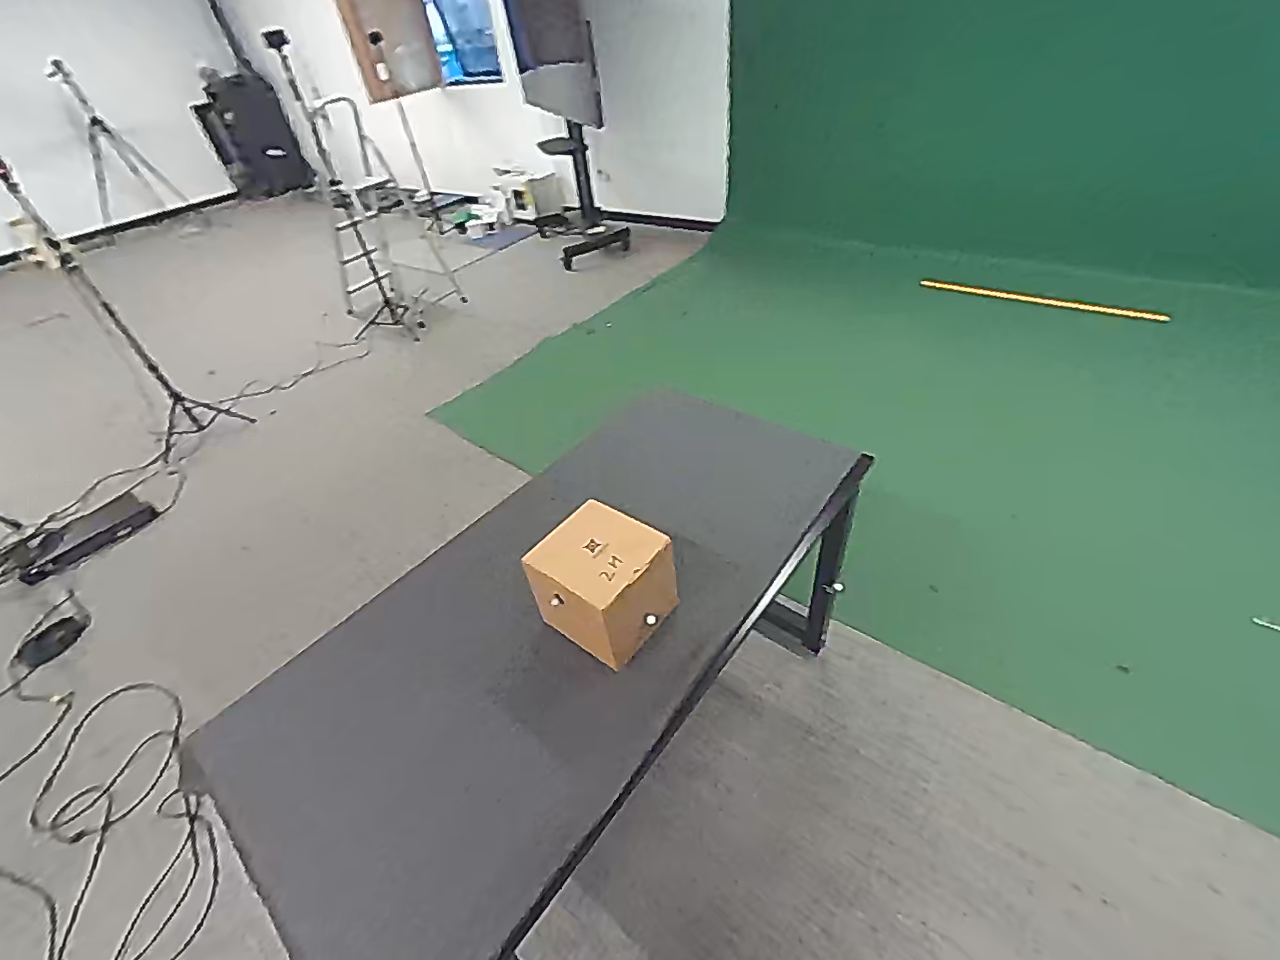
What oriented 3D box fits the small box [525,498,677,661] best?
[{"bbox_3d":[-0.056,0.164,0.891,0.179,0.176,0.168,24,51,32],"label":"small box"}]
